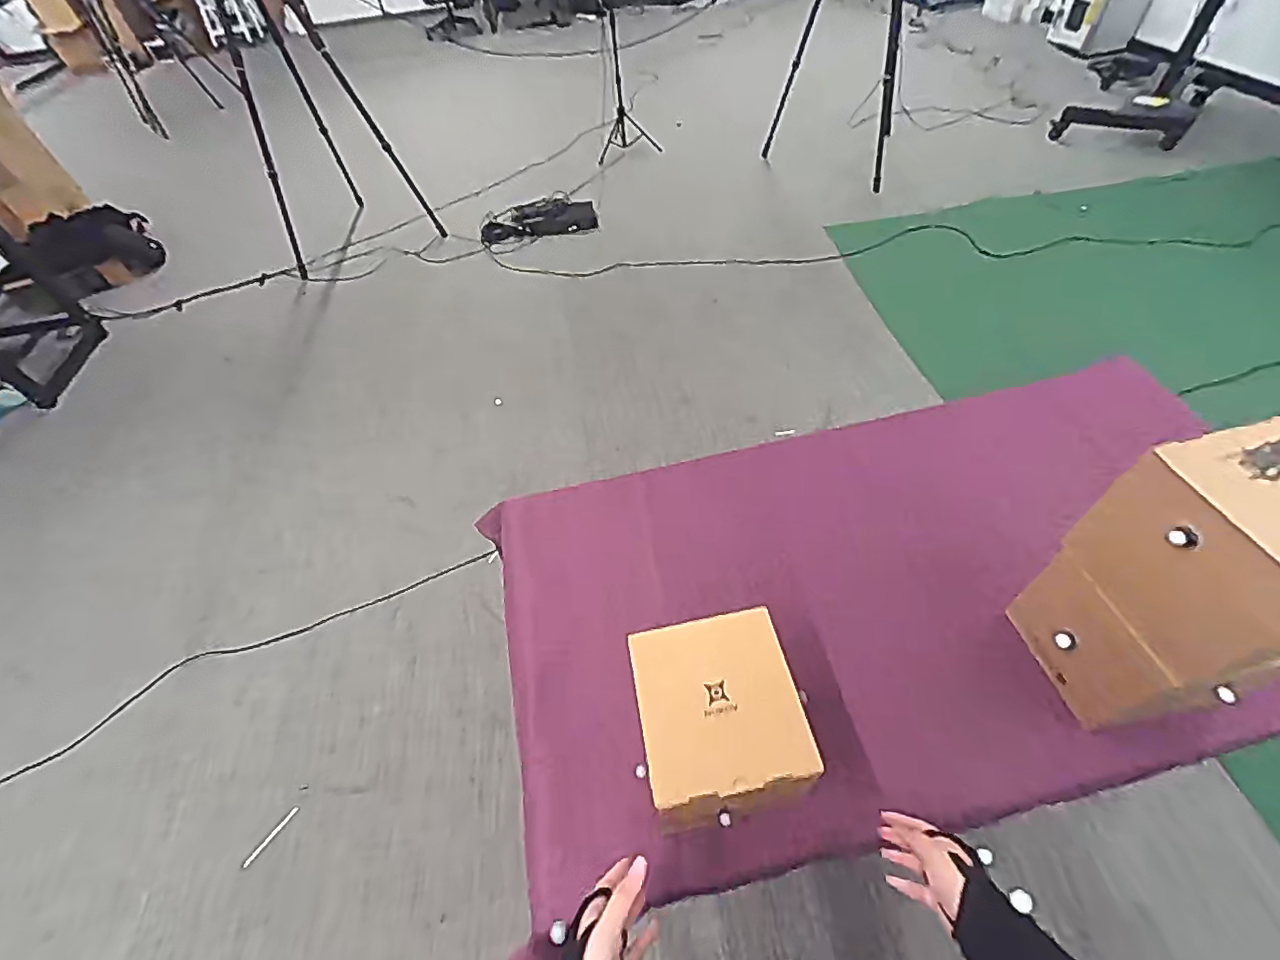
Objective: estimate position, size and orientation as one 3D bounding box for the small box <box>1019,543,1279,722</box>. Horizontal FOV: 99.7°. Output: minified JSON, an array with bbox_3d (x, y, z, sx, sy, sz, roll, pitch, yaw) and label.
[{"bbox_3d":[0.599,0.170,0.645,0.179,0.176,0.168,-11,51,-2],"label":"small box"}]

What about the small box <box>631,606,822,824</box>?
[{"bbox_3d":[0.088,0.274,0.629,0.168,0.176,0.179,-12,51,-2],"label":"small box"}]

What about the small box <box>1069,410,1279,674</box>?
[{"bbox_3d":[0.580,0.061,0.524,0.168,0.176,0.179,-14,51,-3],"label":"small box"}]
